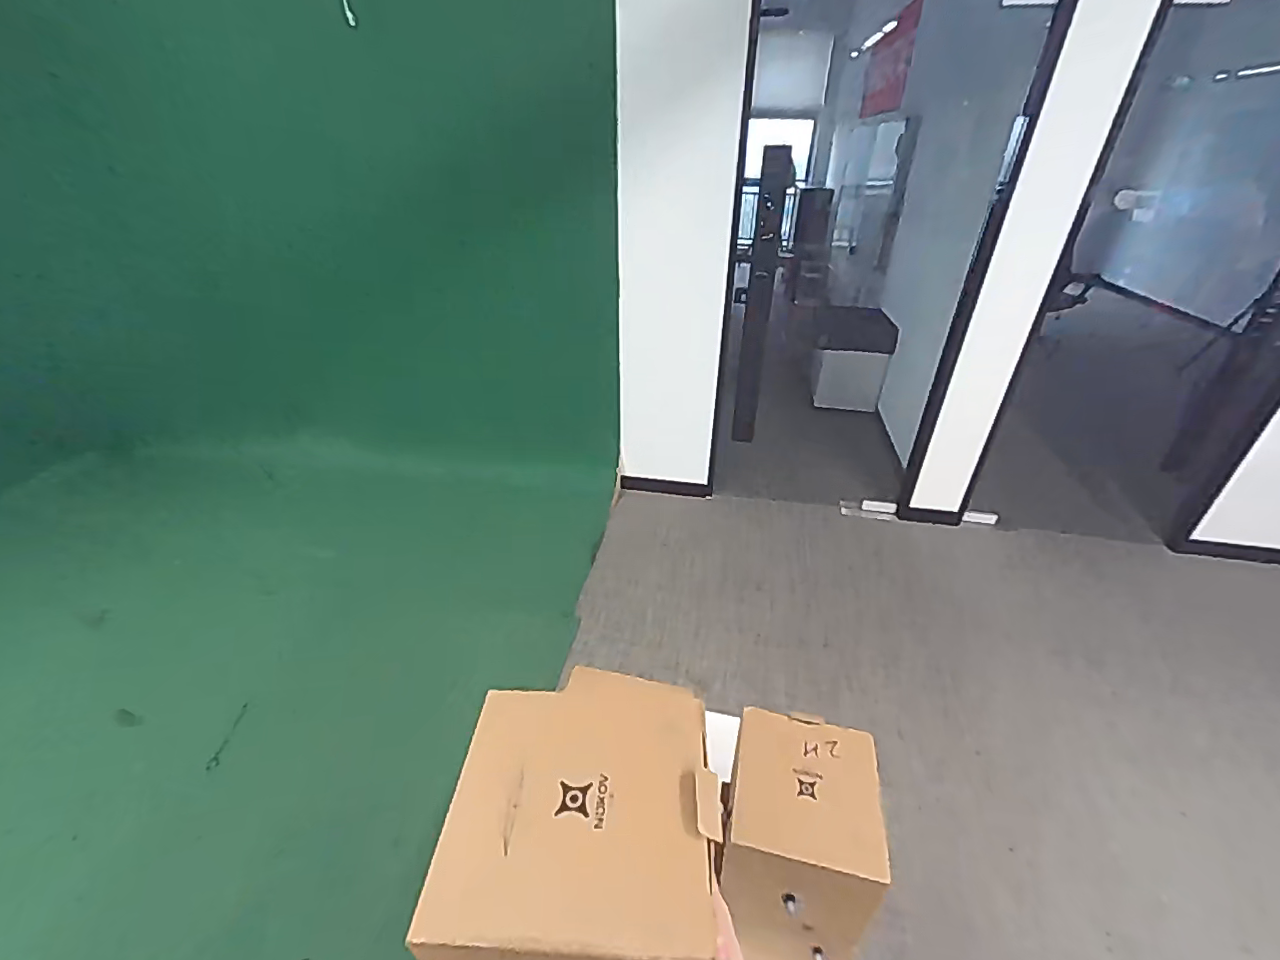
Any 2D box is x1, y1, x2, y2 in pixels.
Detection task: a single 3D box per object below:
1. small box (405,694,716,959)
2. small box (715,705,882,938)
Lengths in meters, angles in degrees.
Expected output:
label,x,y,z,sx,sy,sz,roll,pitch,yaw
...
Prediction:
label,x,y,z,sx,sy,sz,roll,pitch,yaw
small box,-0.039,0.287,0.407,0.179,0.176,0.168,0,32,4
small box,0.190,0.425,0.679,0.168,0.176,0.179,9,32,11
